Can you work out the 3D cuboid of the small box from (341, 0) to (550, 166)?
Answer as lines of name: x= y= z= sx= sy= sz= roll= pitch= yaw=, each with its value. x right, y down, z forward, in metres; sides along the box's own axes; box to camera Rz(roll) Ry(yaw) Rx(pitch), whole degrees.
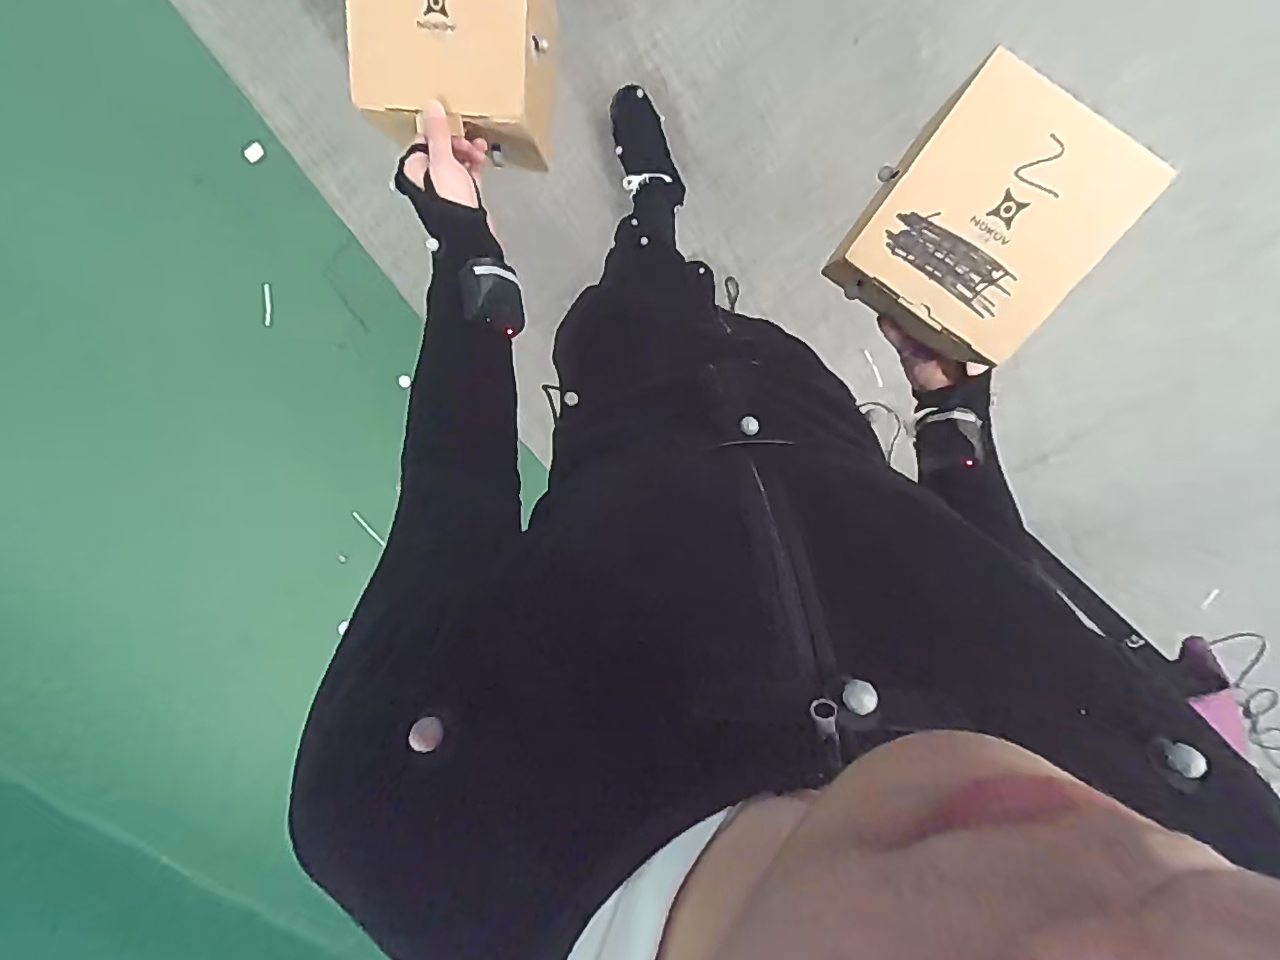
small box: x=-0.190 y=-0.457 z=0.572 sx=0.168 sy=0.176 sz=0.179 roll=5 pitch=103 yaw=-2
